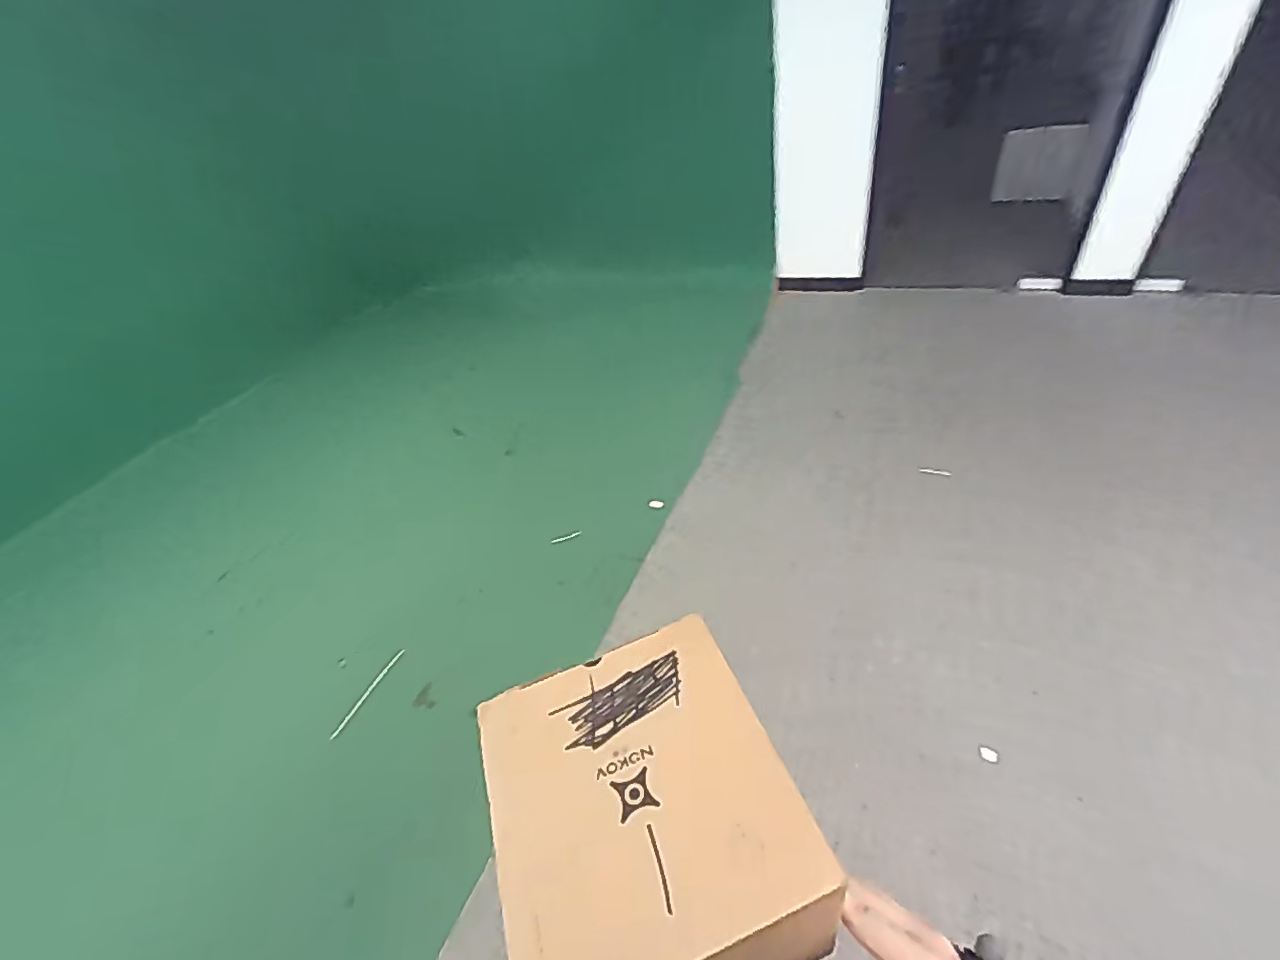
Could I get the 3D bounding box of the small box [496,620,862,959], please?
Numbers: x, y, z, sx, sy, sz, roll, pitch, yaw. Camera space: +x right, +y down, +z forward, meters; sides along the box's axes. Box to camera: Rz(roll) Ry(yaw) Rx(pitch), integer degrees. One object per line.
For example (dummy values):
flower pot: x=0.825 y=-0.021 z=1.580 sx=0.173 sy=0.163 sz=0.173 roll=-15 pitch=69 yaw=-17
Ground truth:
small box: x=0.017 y=0.234 z=0.361 sx=0.168 sy=0.176 sz=0.179 roll=-20 pitch=41 yaw=-9
